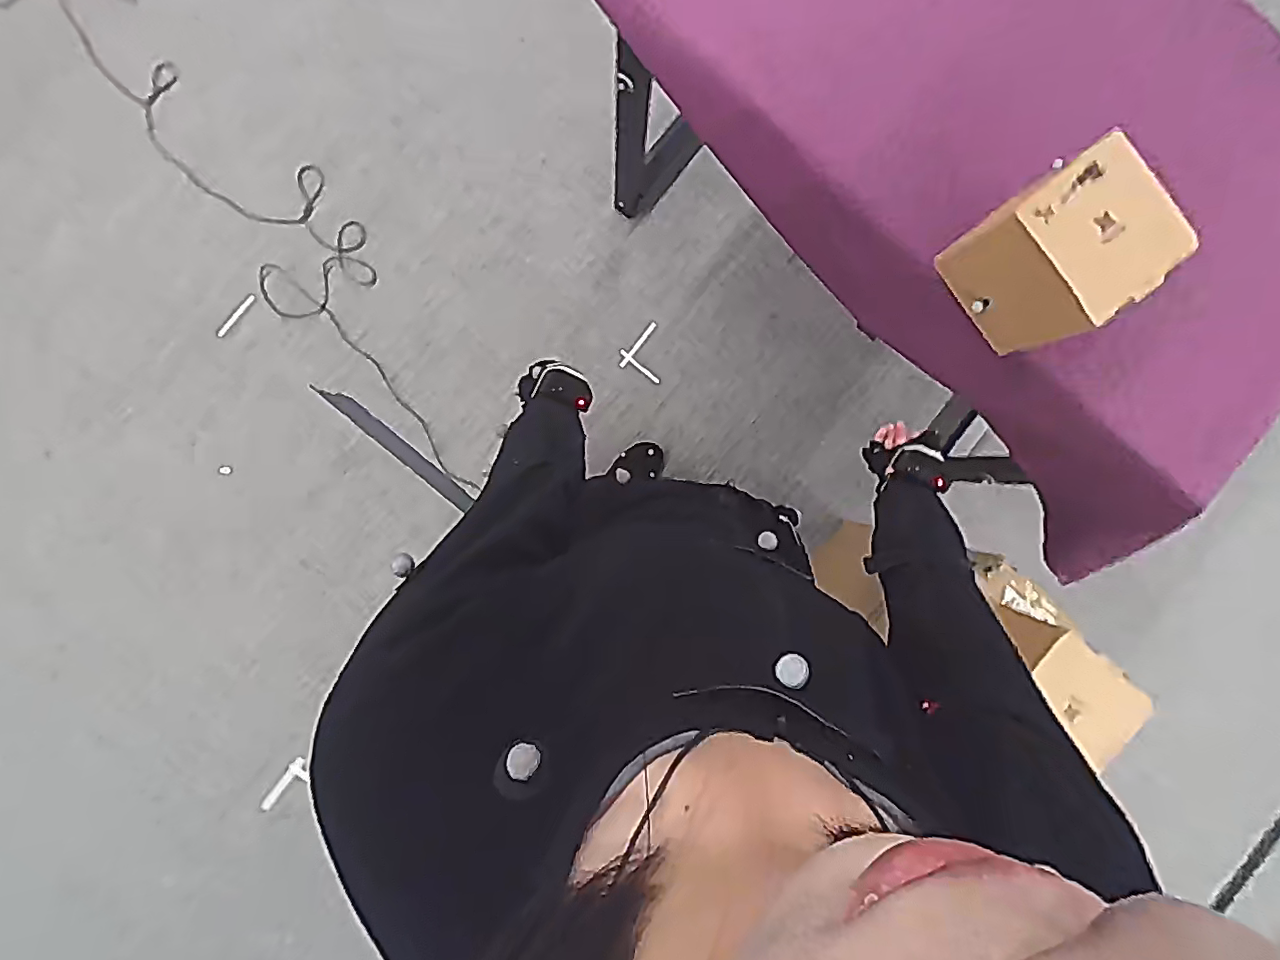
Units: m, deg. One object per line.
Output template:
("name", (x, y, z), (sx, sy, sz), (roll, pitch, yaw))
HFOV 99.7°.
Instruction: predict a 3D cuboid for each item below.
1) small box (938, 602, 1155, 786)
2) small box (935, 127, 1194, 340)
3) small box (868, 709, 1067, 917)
("small box", (0.615, 0.317, 0.845), (0.168, 0.176, 0.179), (40, 91, -1))
("small box", (0.549, -0.308, 0.723), (0.168, 0.176, 0.179), (-38, 94, -2))
("small box", (0.487, 0.500, 0.841), (0.168, 0.176, 0.179), (43, 87, -2))
